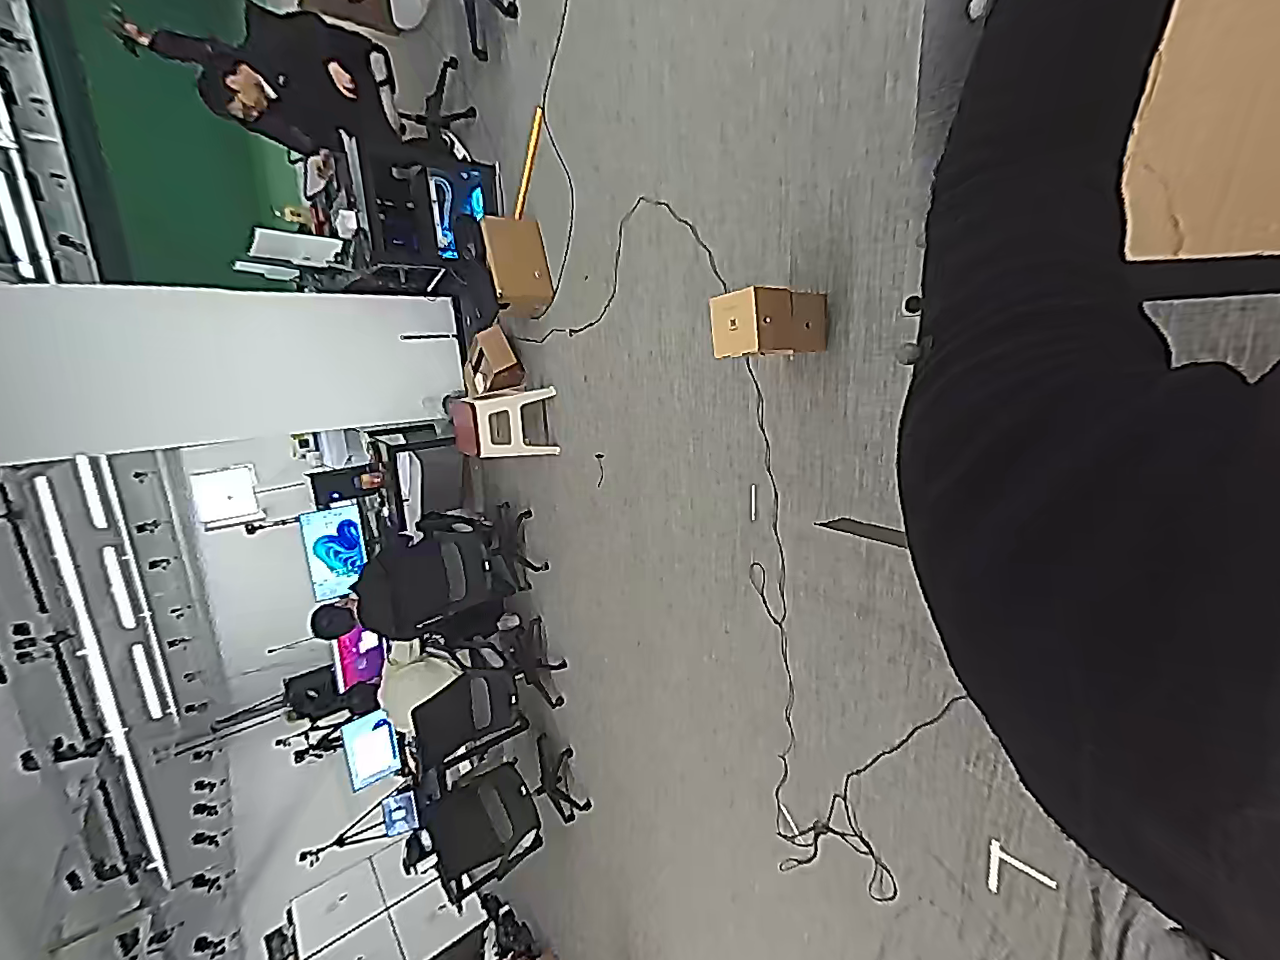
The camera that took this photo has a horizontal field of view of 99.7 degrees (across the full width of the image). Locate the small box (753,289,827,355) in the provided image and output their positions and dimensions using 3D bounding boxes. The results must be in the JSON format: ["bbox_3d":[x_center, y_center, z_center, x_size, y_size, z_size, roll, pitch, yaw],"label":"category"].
[{"bbox_3d":[0.460,-0.481,1.665,0.168,0.176,0.179,9,108,51],"label":"small box"}]

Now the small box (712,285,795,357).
[{"bbox_3d":[0.332,-0.458,1.566,0.168,0.176,0.179,5,103,51],"label":"small box"}]
